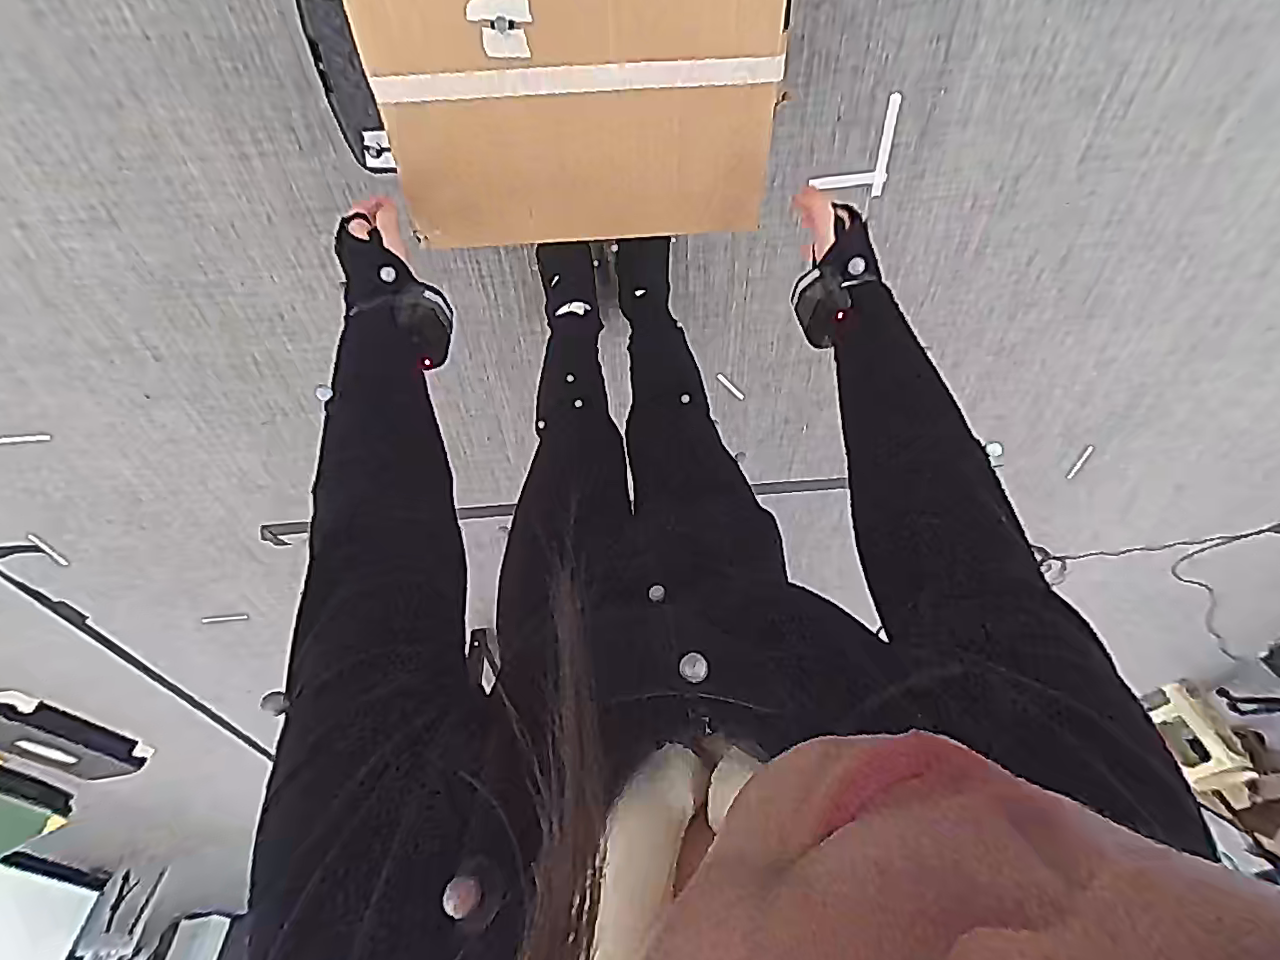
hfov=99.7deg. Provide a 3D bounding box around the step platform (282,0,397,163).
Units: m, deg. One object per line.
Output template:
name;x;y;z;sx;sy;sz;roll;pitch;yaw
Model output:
step platform;-0.144;-0.642;0.821;0.684;0.204;0.286;0;133;-6

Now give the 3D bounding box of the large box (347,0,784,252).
large box;-0.070;-0.496;0.639;0.408;0.320;0.320;-4;133;-2
